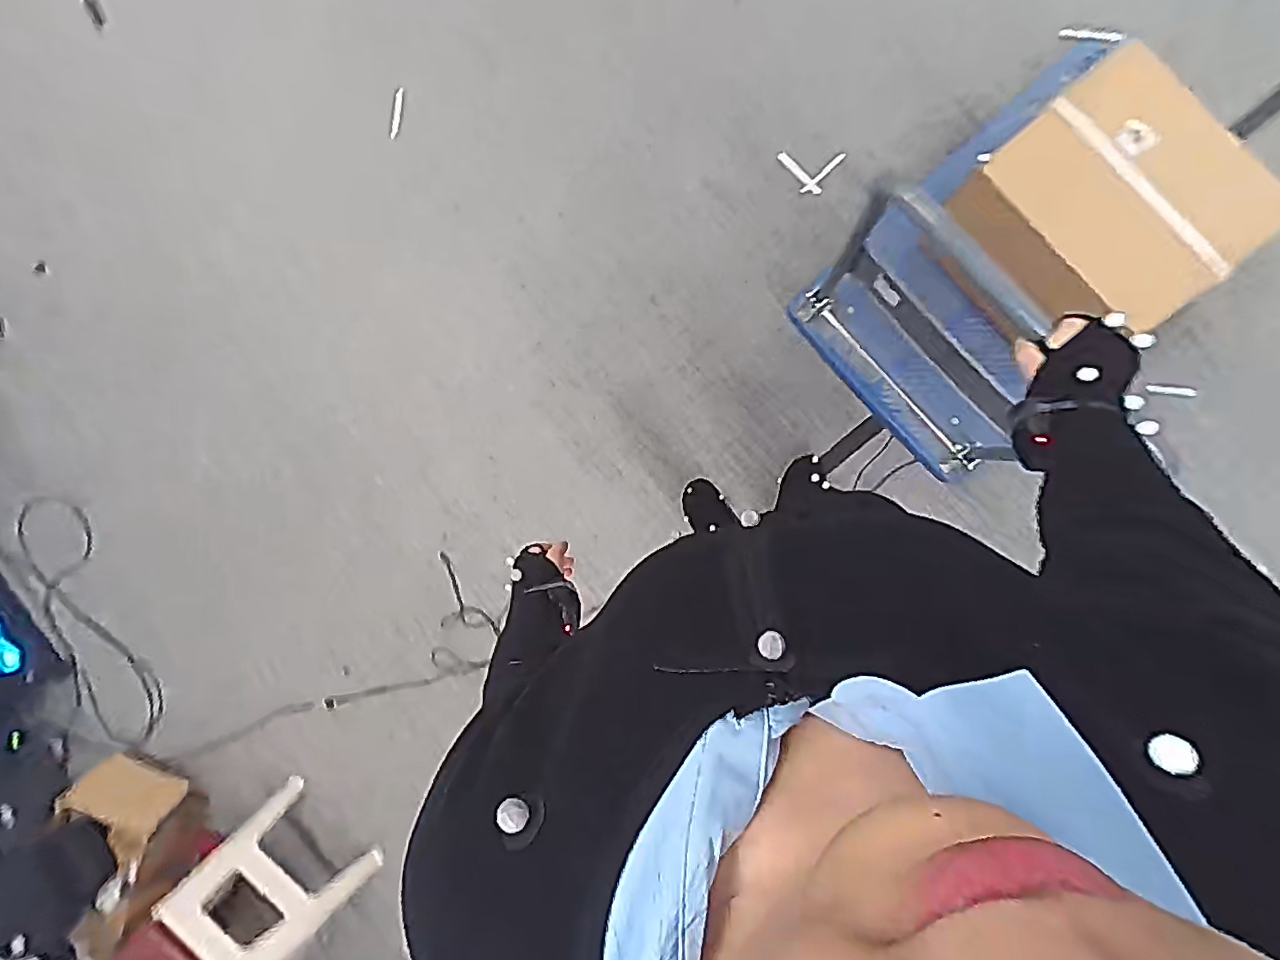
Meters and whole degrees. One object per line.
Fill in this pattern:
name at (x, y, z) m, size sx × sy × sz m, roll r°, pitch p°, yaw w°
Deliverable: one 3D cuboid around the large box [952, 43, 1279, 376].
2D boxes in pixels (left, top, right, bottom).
large box at (0.902, -0.465, 1.027) m, size 0.320 × 0.320 × 0.408 m, roll -36°, pitch 86°, yaw 8°
